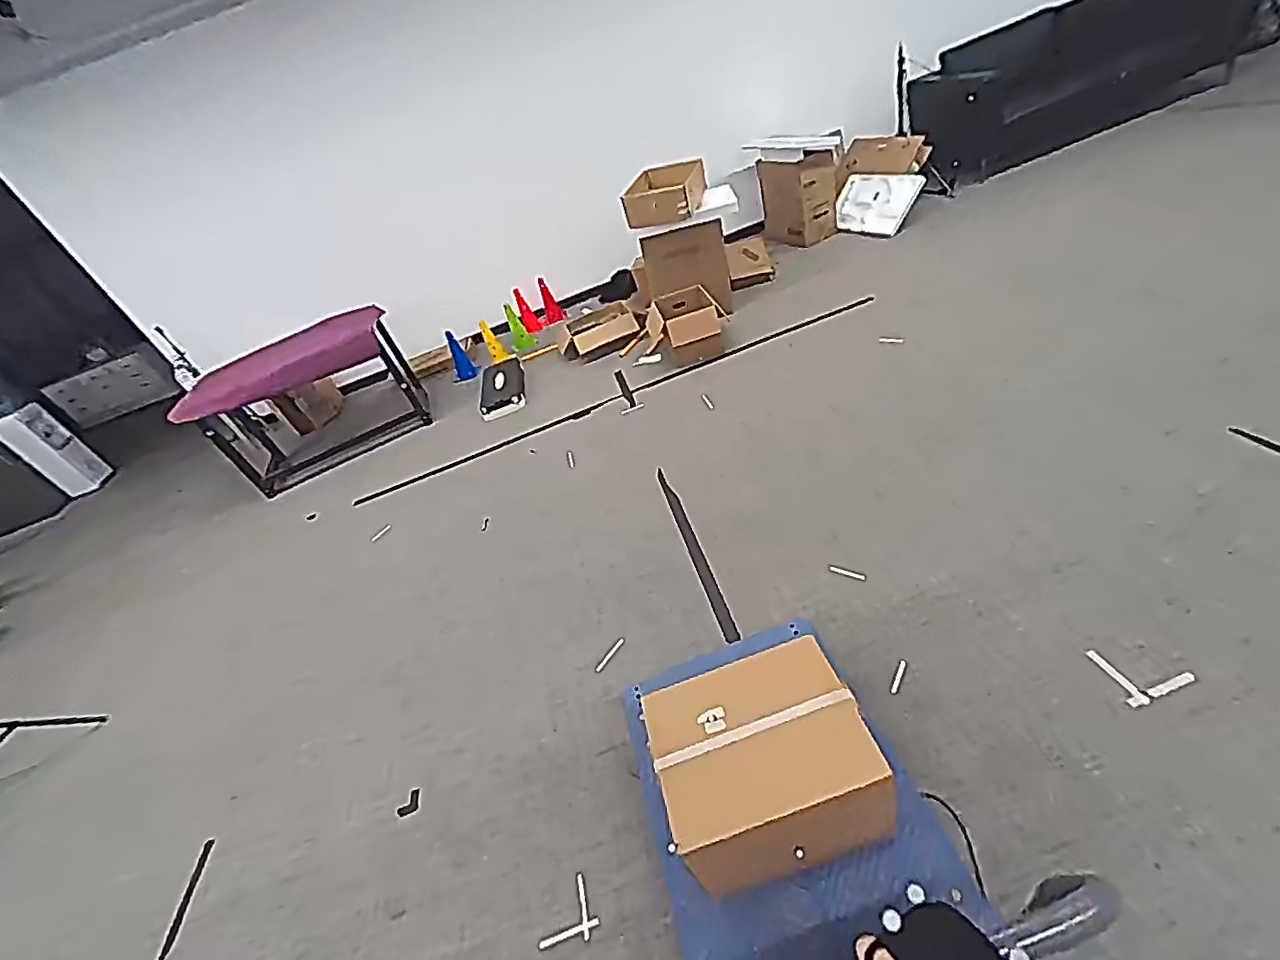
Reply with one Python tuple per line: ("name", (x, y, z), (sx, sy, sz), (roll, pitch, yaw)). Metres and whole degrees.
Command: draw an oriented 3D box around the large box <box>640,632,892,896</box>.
("large box", (0.259, 0.595, 1.141), (0.408, 0.320, 0.320), (-22, 36, 1))
